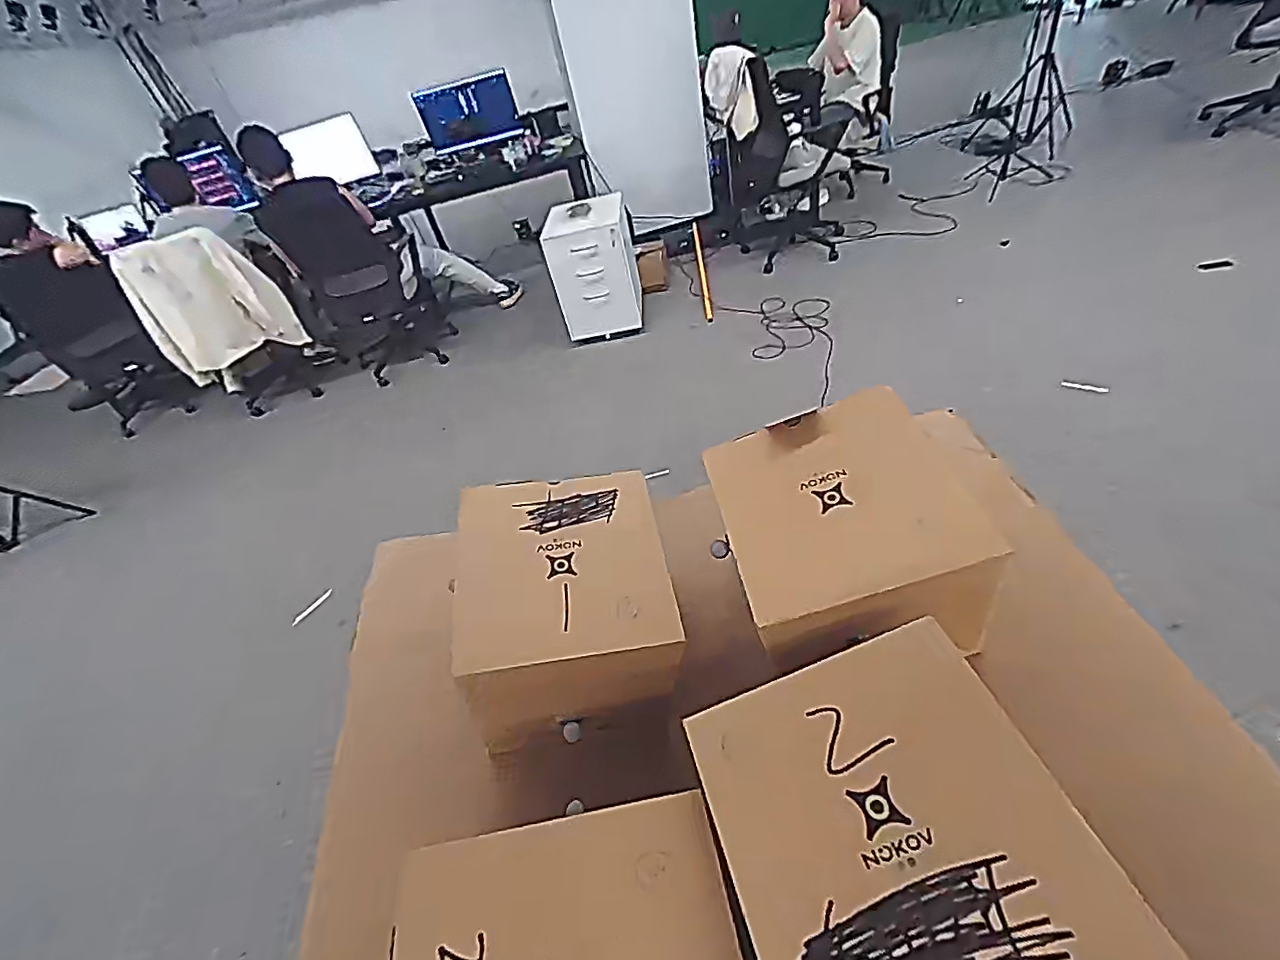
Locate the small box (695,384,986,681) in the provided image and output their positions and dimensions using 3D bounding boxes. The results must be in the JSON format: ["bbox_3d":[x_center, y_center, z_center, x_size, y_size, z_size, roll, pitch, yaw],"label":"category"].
[{"bbox_3d":[0.163,0.055,0.469,0.168,0.176,0.179,-20,45,8],"label":"small box"}]
